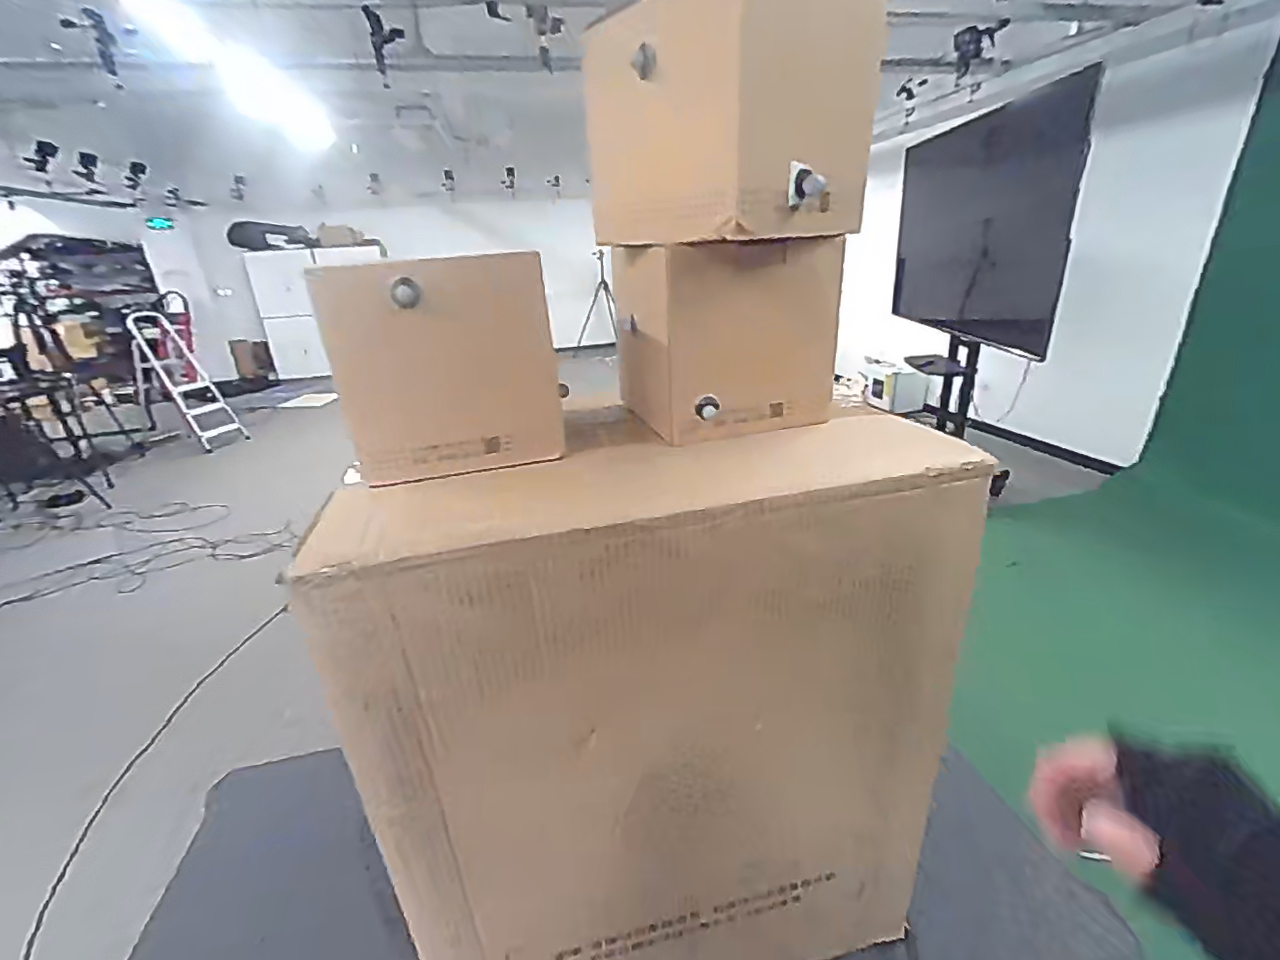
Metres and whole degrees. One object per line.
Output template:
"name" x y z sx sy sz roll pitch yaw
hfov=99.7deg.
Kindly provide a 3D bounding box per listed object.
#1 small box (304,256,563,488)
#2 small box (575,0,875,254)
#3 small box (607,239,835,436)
"small box" -0.170 -0.107 0.497 0.168 0.176 0.179 -11 24 -11
"small box" 0.066 -0.286 0.455 0.168 0.176 0.179 -23 32 -34
"small box" 0.072 -0.149 0.544 0.168 0.176 0.179 -11 24 -15
